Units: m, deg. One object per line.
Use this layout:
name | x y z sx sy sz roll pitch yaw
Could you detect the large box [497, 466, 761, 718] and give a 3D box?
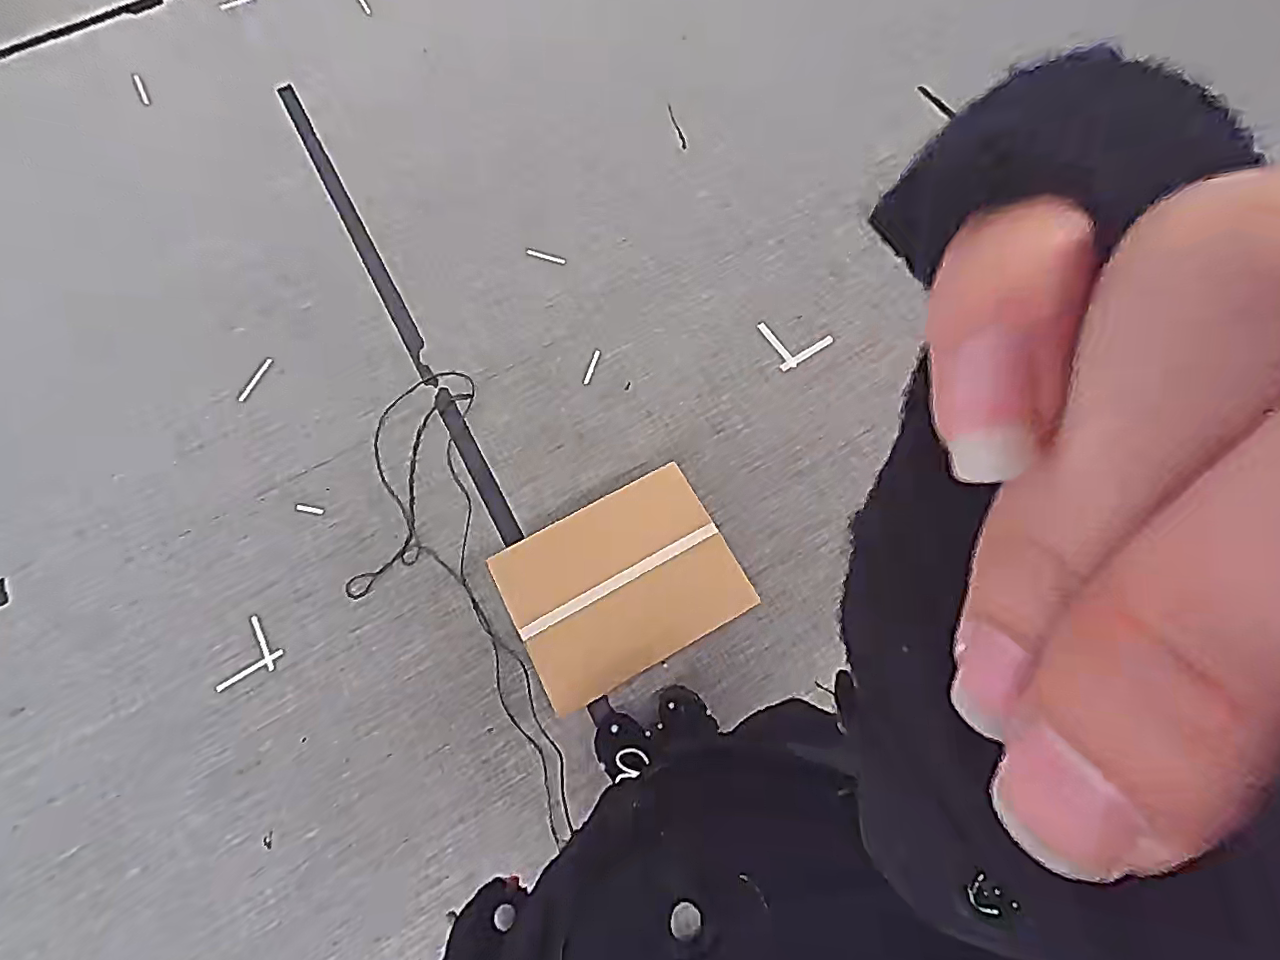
large box | -0.021 0.238 1.126 0.408 0.320 0.320 -28 73 -8
